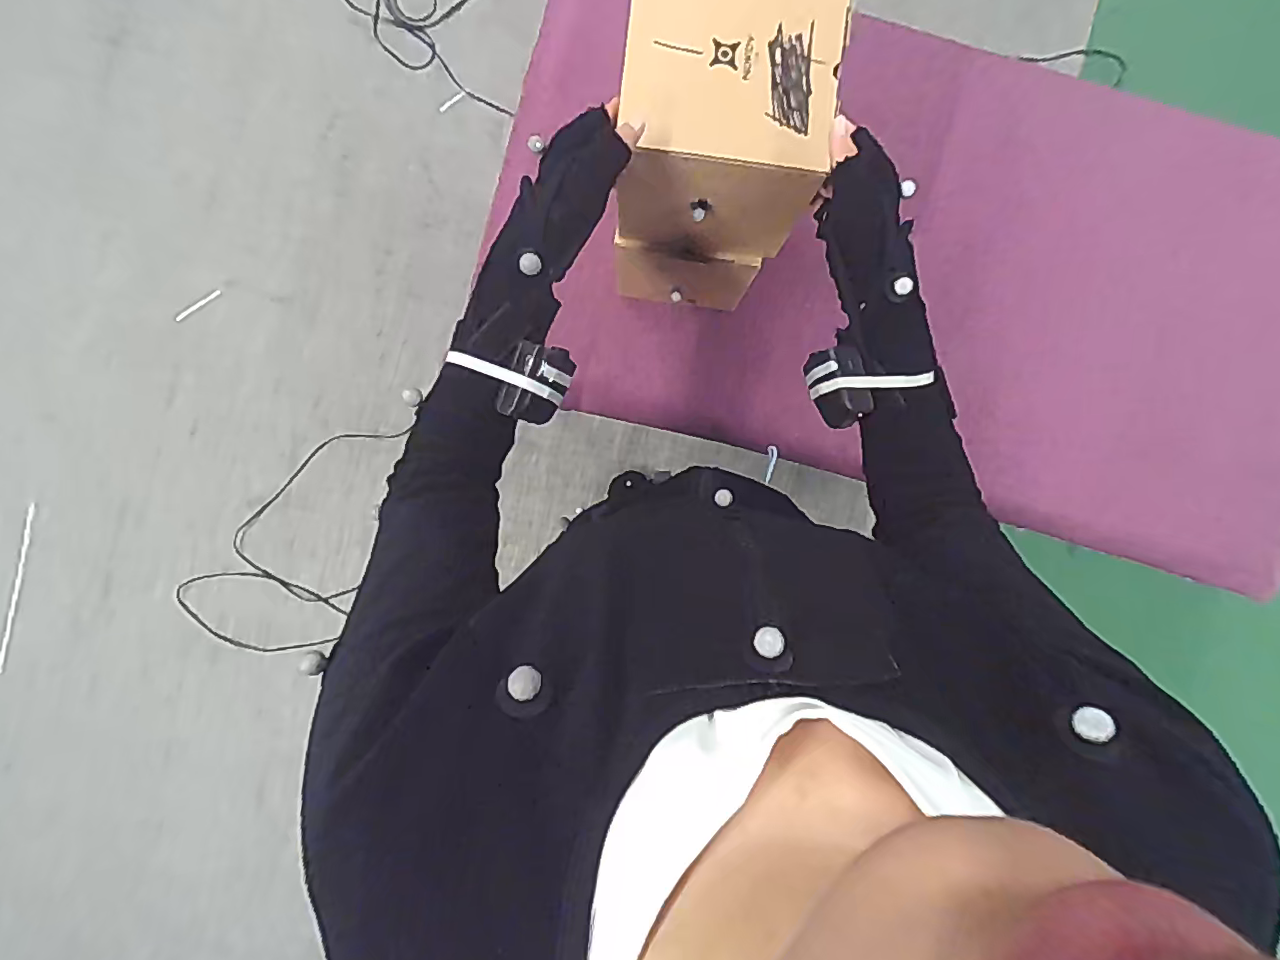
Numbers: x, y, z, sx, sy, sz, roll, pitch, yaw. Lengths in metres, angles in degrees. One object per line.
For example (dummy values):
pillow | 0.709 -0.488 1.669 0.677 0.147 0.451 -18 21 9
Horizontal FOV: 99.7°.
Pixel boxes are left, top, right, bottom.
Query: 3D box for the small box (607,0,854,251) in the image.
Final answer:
small box | 0.070 -0.336 0.502 0.179 0.176 0.168 10 88 -1

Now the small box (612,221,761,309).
small box | 0.060 -0.334 0.669 0.168 0.176 0.179 8 90 0
